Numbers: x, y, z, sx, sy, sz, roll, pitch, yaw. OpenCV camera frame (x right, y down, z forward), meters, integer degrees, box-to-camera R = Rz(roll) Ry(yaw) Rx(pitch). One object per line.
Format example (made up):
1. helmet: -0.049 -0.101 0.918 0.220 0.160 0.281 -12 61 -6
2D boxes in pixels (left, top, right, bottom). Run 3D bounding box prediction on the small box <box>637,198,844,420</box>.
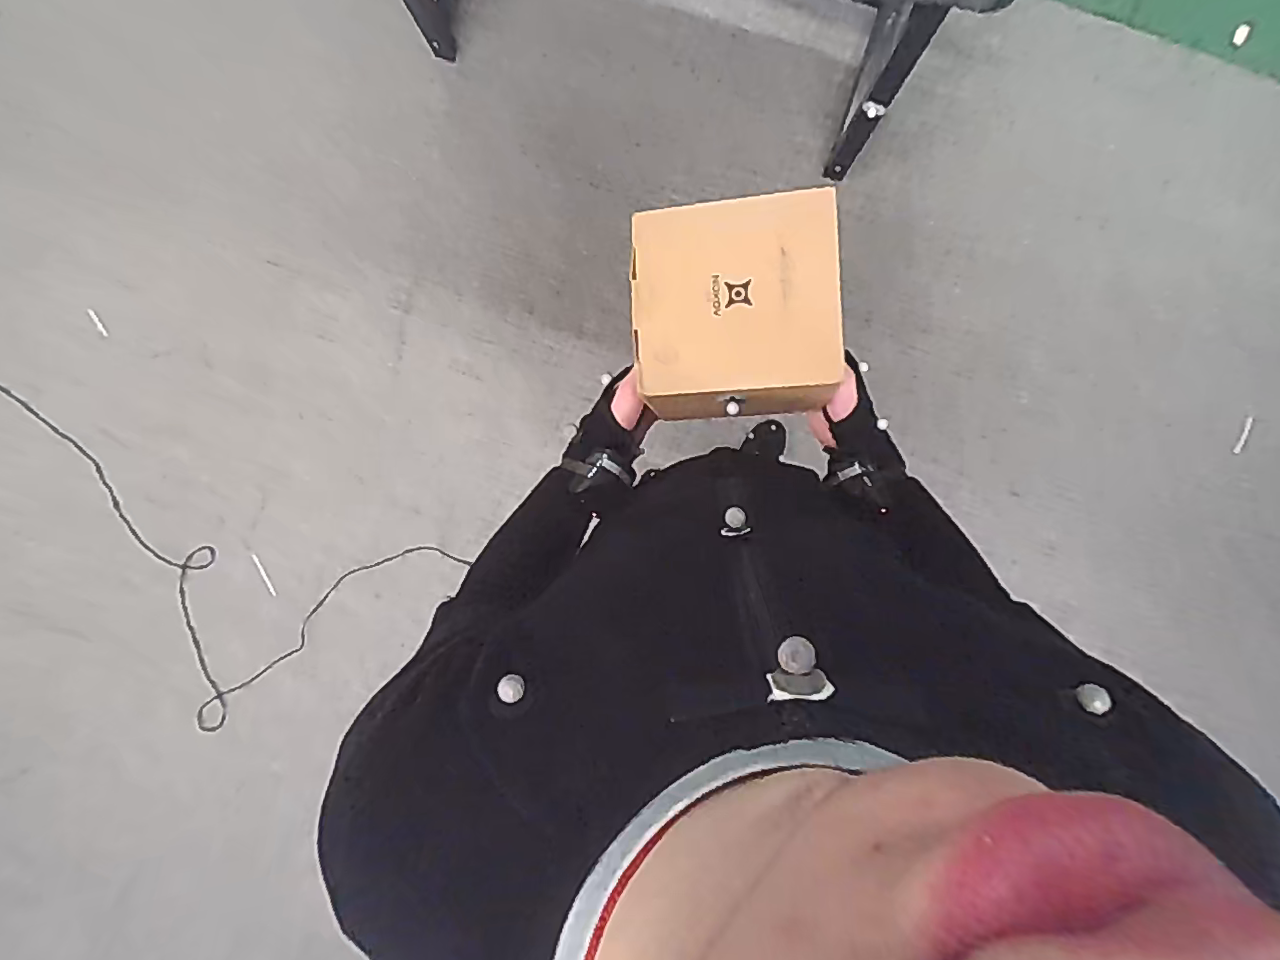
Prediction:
1. small box: 0.099 -0.156 0.554 0.179 0.176 0.168 -3 89 9
